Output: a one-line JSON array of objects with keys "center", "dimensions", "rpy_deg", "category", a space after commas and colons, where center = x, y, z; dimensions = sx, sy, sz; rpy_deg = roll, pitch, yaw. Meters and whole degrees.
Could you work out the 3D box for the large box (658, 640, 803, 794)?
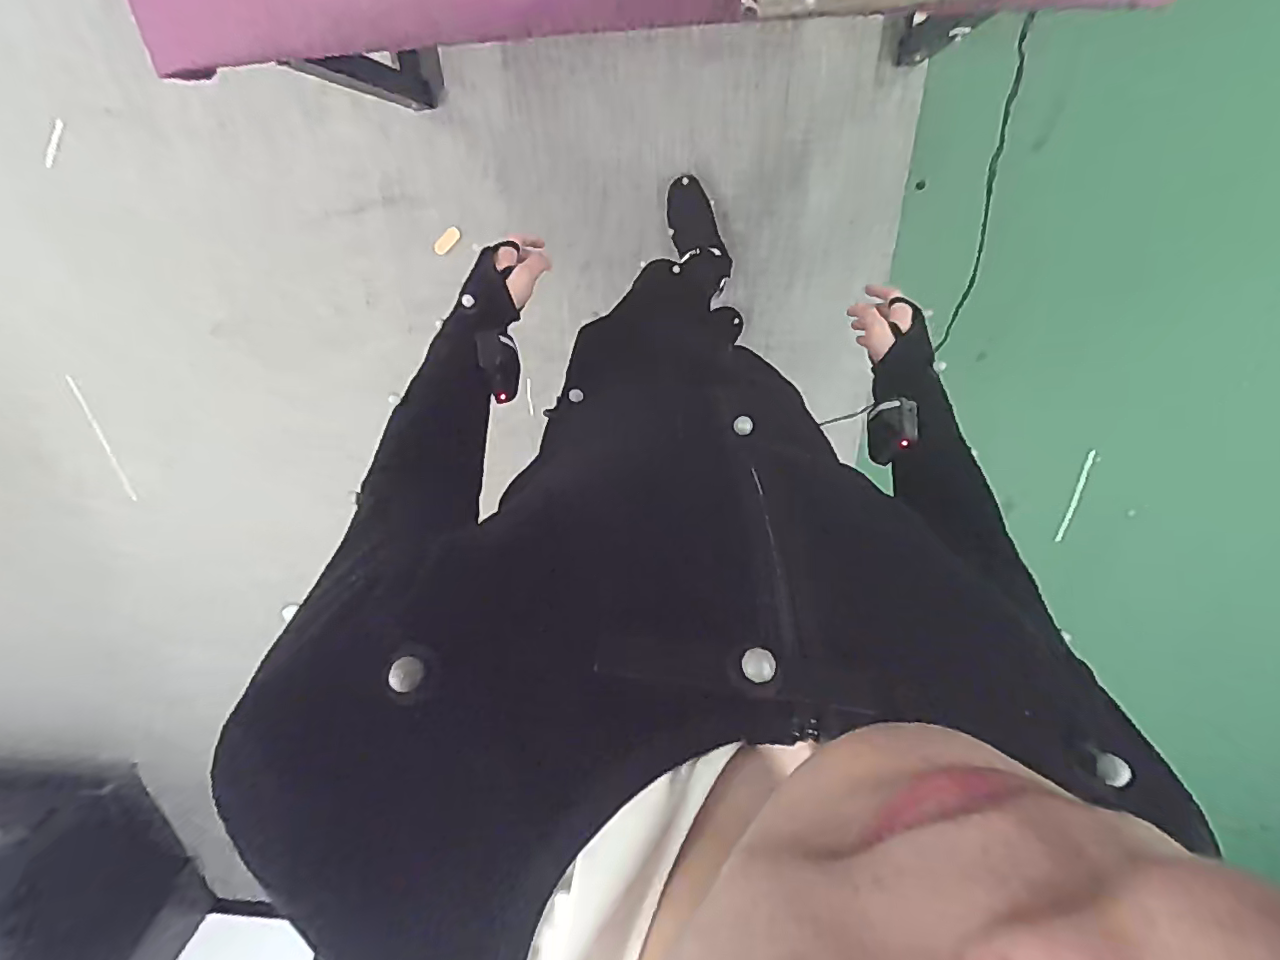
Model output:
[{"center": [0.317, 0.860, 1.974], "dimensions": [0.408, 0.320, 0.320], "rpy_deg": [-31, 111, 18], "category": "large box"}]
